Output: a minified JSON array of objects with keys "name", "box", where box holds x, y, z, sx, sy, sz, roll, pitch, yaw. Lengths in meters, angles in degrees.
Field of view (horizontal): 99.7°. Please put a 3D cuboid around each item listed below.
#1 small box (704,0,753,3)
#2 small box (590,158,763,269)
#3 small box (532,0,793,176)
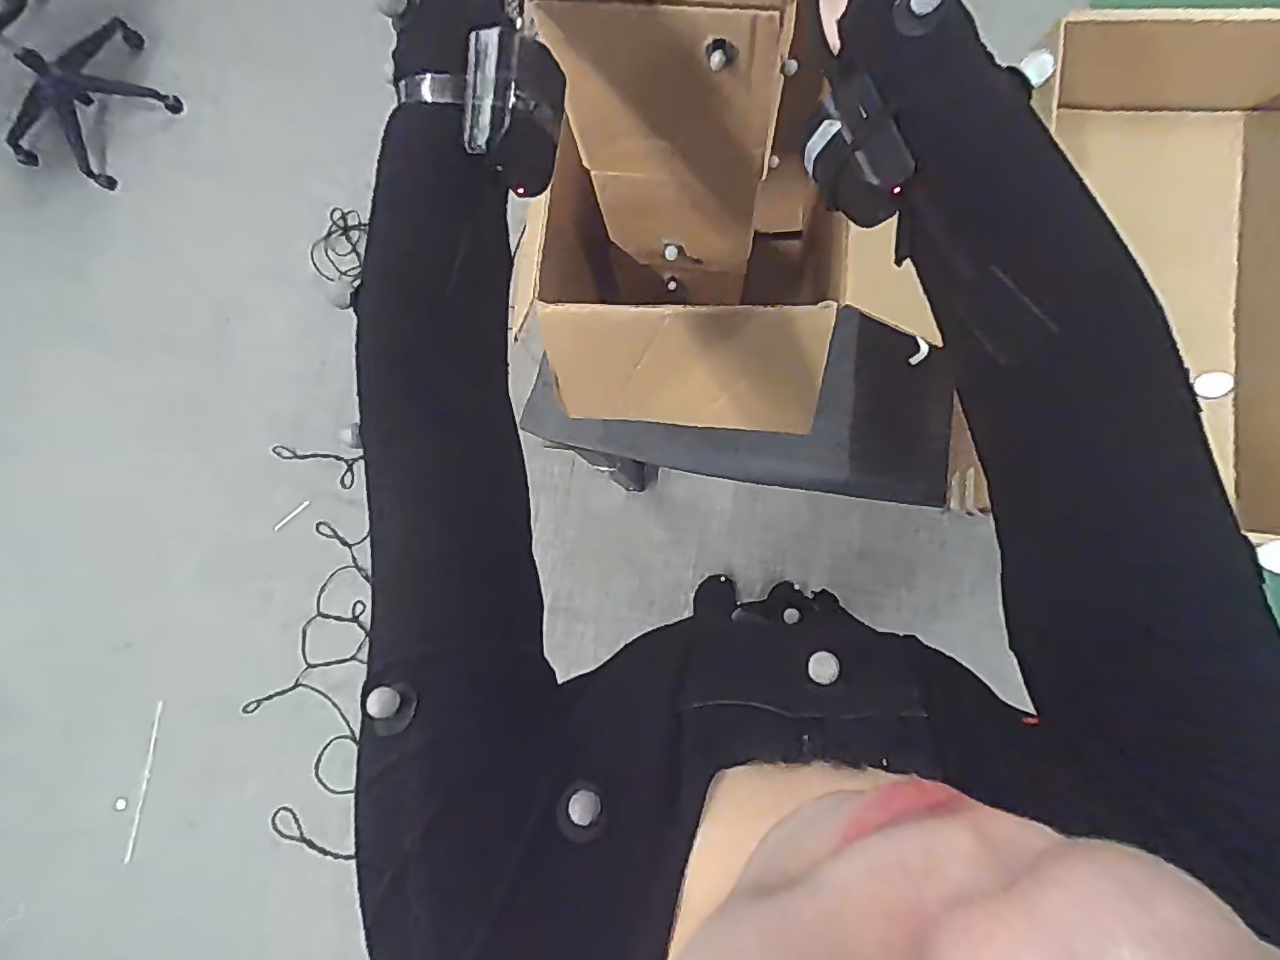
[{"name":"small box","box":[0.019,-0.401,0.281,0.179,0.176,0.168,11,85,8]},{"name":"small box","box":[0.053,-0.365,0.603,0.168,0.176,0.179,9,86,8]},{"name":"small box","box":[0.031,-0.381,0.444,0.179,0.176,0.168,10,84,8]}]
